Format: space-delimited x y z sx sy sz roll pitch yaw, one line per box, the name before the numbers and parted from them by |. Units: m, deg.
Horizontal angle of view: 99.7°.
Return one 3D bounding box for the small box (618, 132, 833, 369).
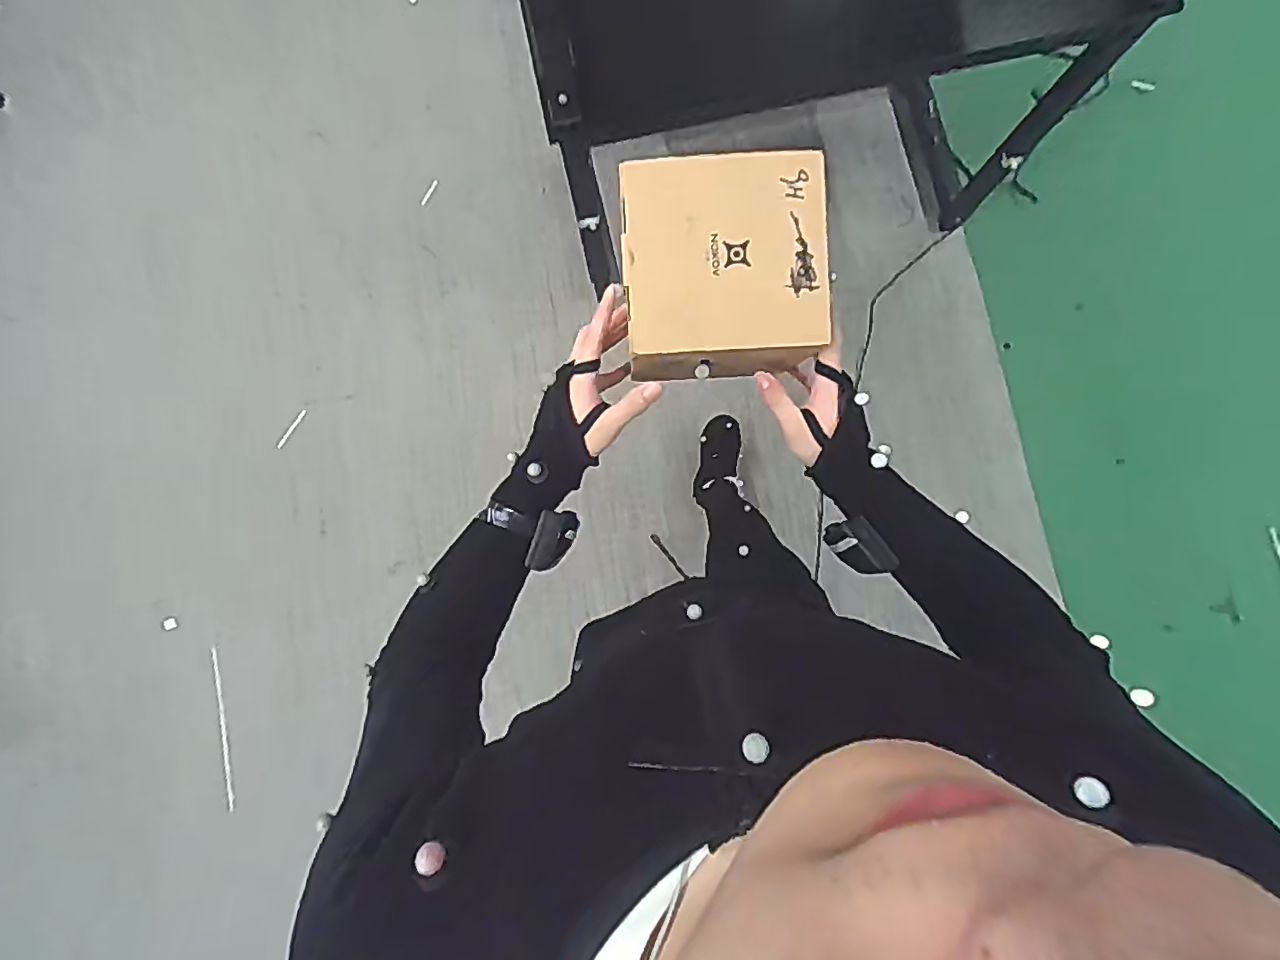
small box | 0.073 -0.207 0.533 0.179 0.176 0.168 -3 93 0
